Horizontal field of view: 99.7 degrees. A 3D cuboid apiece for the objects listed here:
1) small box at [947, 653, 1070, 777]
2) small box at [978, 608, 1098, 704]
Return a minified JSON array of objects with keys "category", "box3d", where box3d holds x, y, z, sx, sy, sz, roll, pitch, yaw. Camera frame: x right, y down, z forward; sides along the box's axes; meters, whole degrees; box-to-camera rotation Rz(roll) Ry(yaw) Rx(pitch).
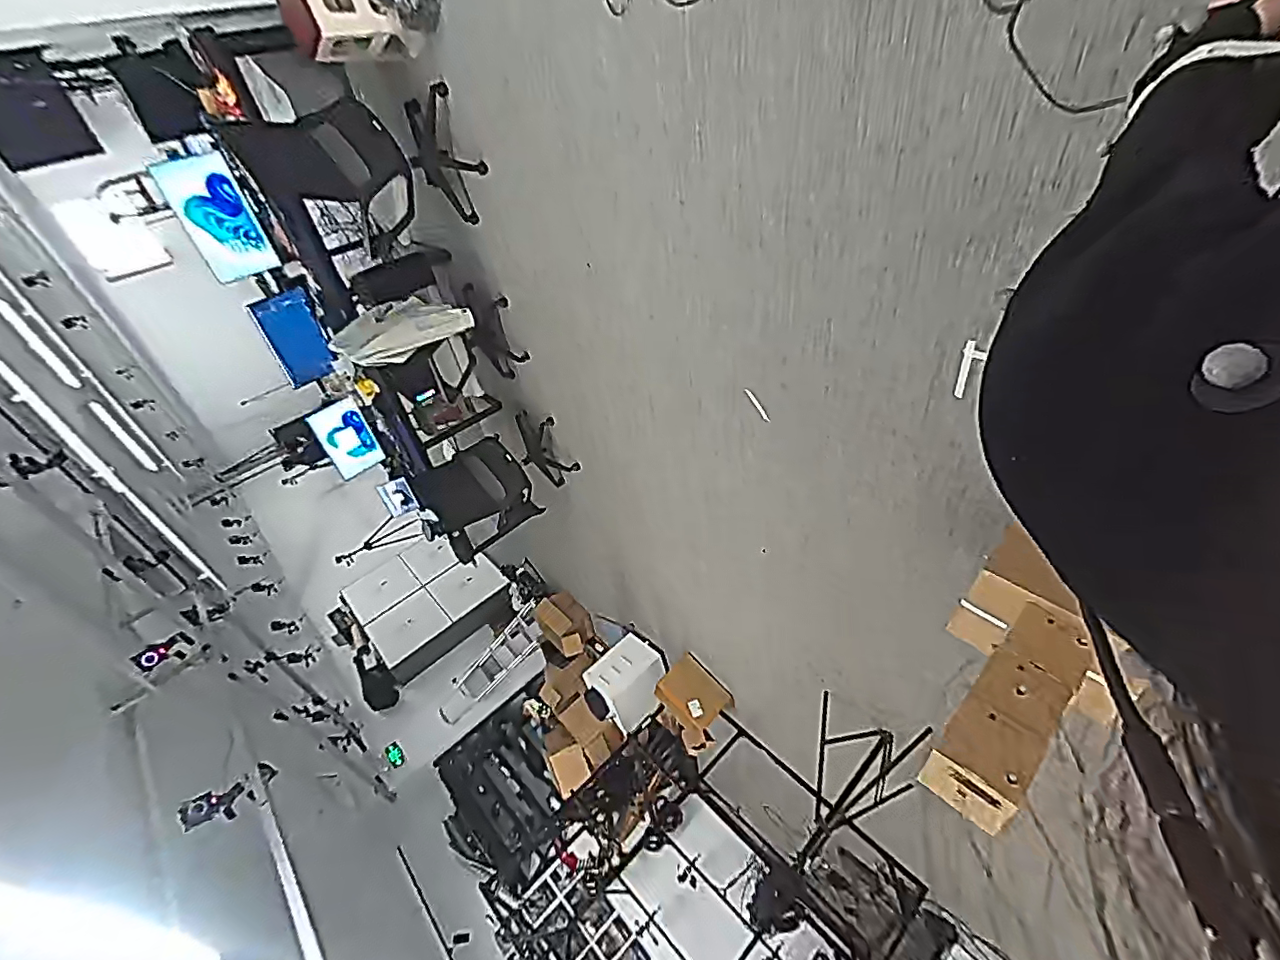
[{"category":"small box","box3d":[0.864,0.543,1.267,0.168,0.176,0.179,34,145,35]},{"category":"small box","box3d":[0.983,0.452,1.335,0.168,0.176,0.179,36,148,33]}]
